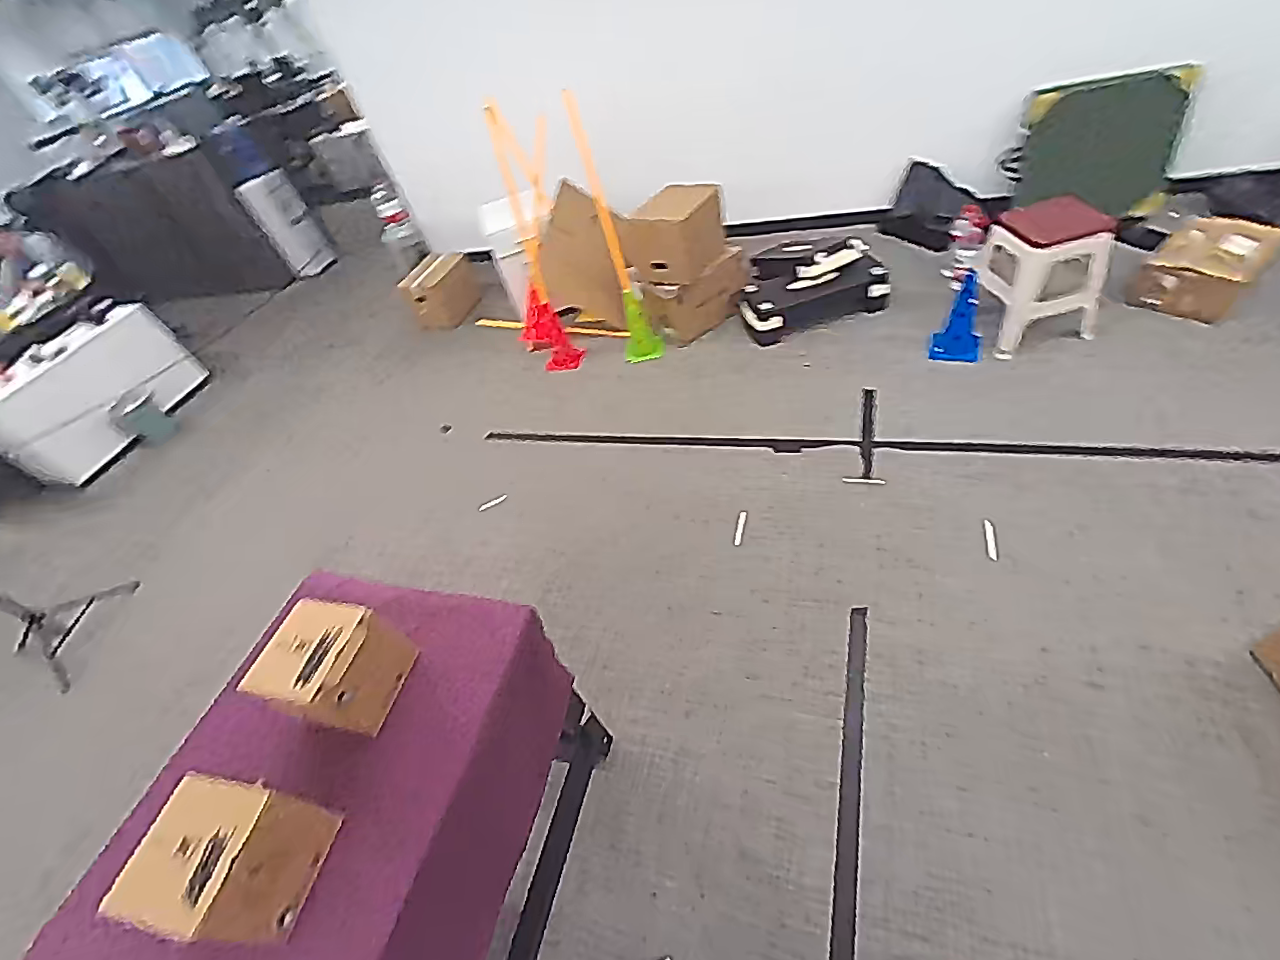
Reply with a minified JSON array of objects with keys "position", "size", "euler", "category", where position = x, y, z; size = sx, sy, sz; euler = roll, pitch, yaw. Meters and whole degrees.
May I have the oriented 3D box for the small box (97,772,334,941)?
[{"position":[-0.600,0.552,0.793],"size":[0.179,0.176,0.168],"euler":[-1,48,17],"category":"small box"}]
